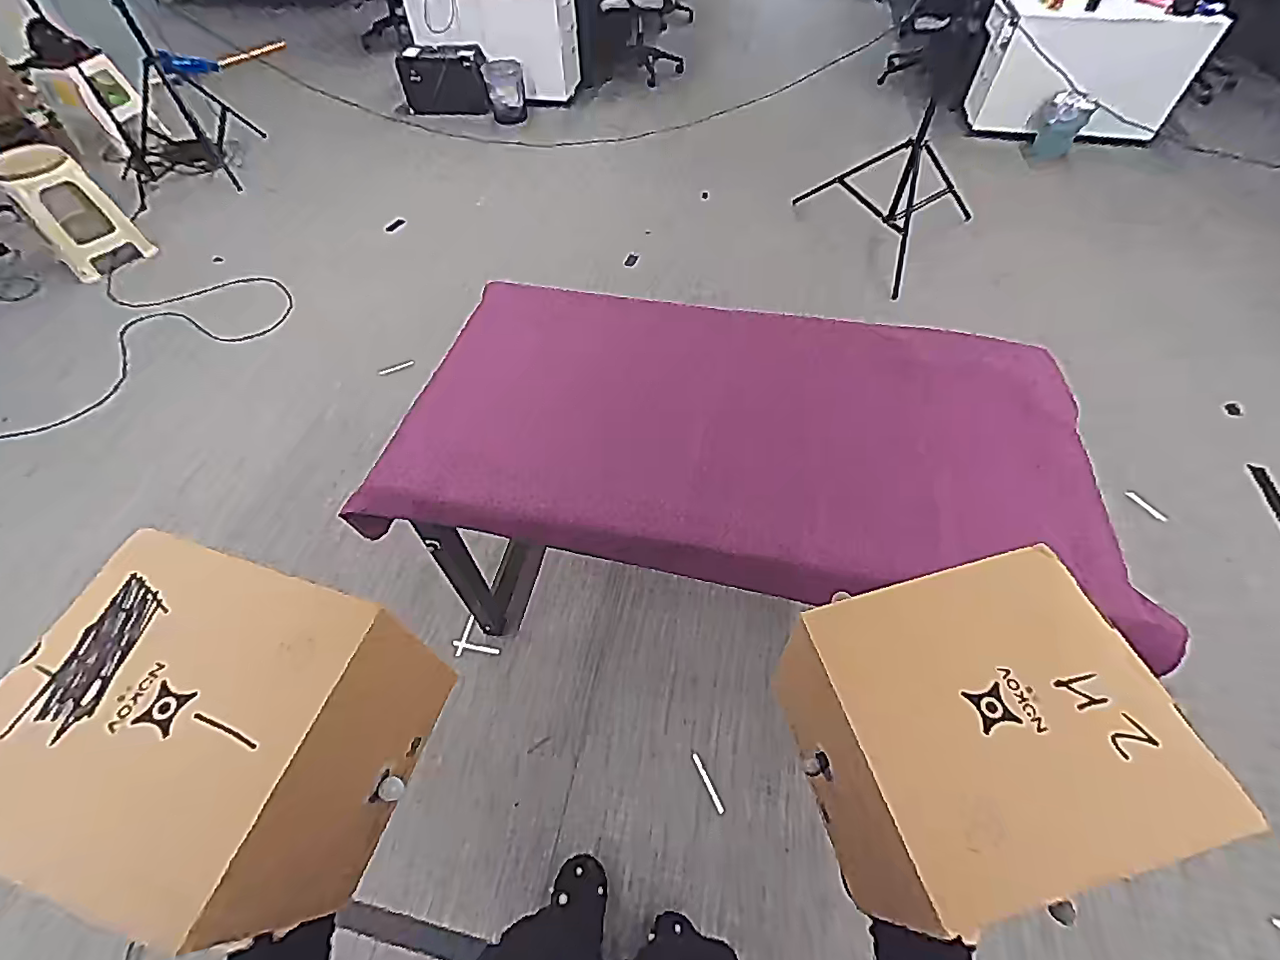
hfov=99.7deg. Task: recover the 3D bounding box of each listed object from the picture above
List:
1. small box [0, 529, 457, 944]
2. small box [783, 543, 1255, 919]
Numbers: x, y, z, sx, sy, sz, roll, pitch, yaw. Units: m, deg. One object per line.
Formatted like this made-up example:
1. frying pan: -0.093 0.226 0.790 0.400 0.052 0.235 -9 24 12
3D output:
1. small box: -0.252 0.160 0.355 0.179 0.176 0.168 15 59 8
2. small box: 0.210 0.171 0.371 0.179 0.176 0.168 -14 55 -5
